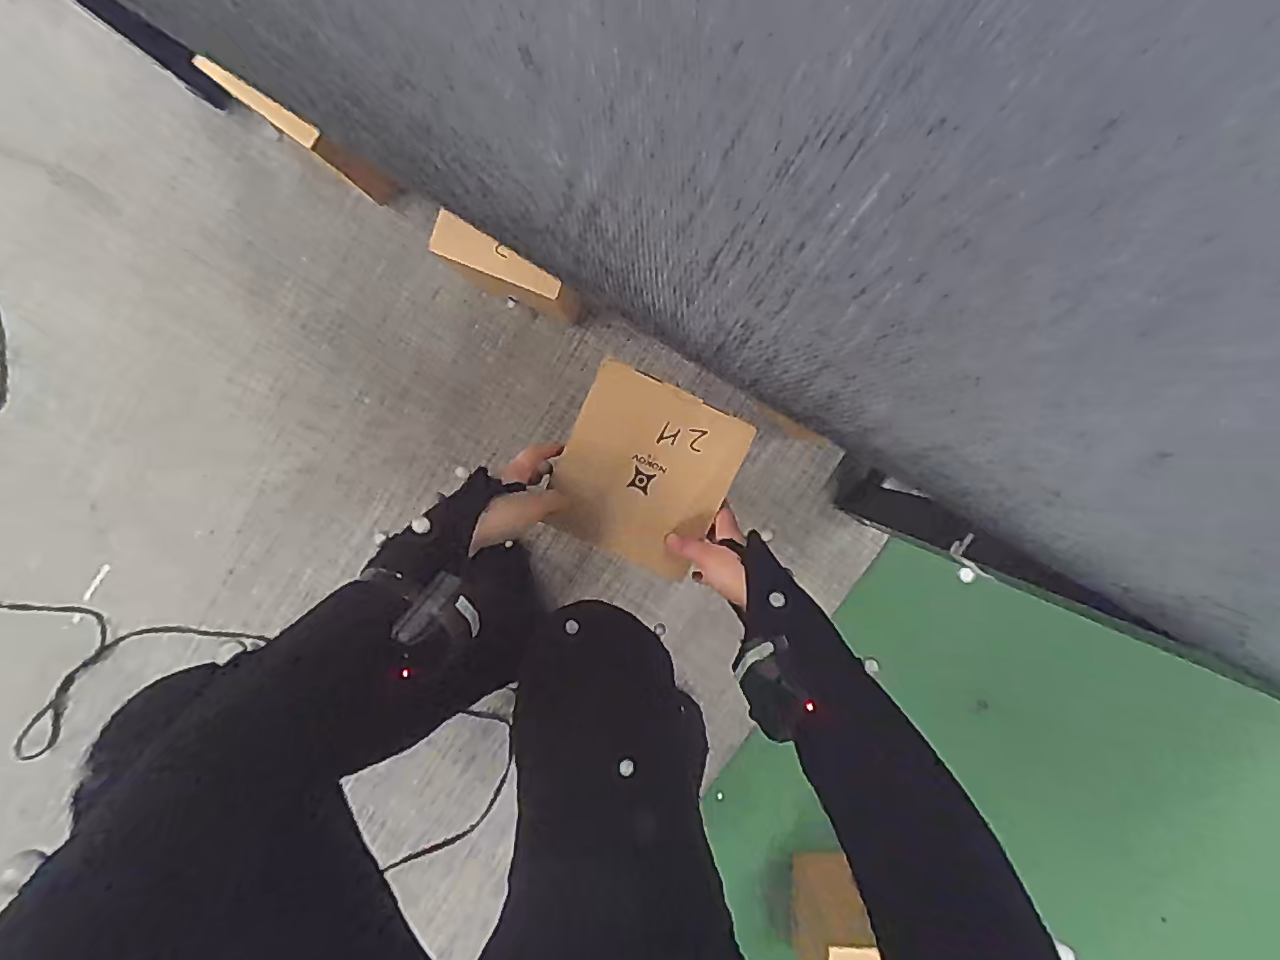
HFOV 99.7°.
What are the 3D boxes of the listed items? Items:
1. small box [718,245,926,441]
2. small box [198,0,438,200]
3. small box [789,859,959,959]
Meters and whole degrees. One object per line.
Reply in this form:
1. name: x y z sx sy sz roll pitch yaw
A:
1. small box: 0.225 -0.168 0.721 0.168 0.176 0.179 -44 95 5
2. small box: -0.395 -0.507 0.699 0.168 0.176 0.179 37 94 -2
3. small box: 0.334 0.700 0.801 0.179 0.176 0.168 1 95 0
